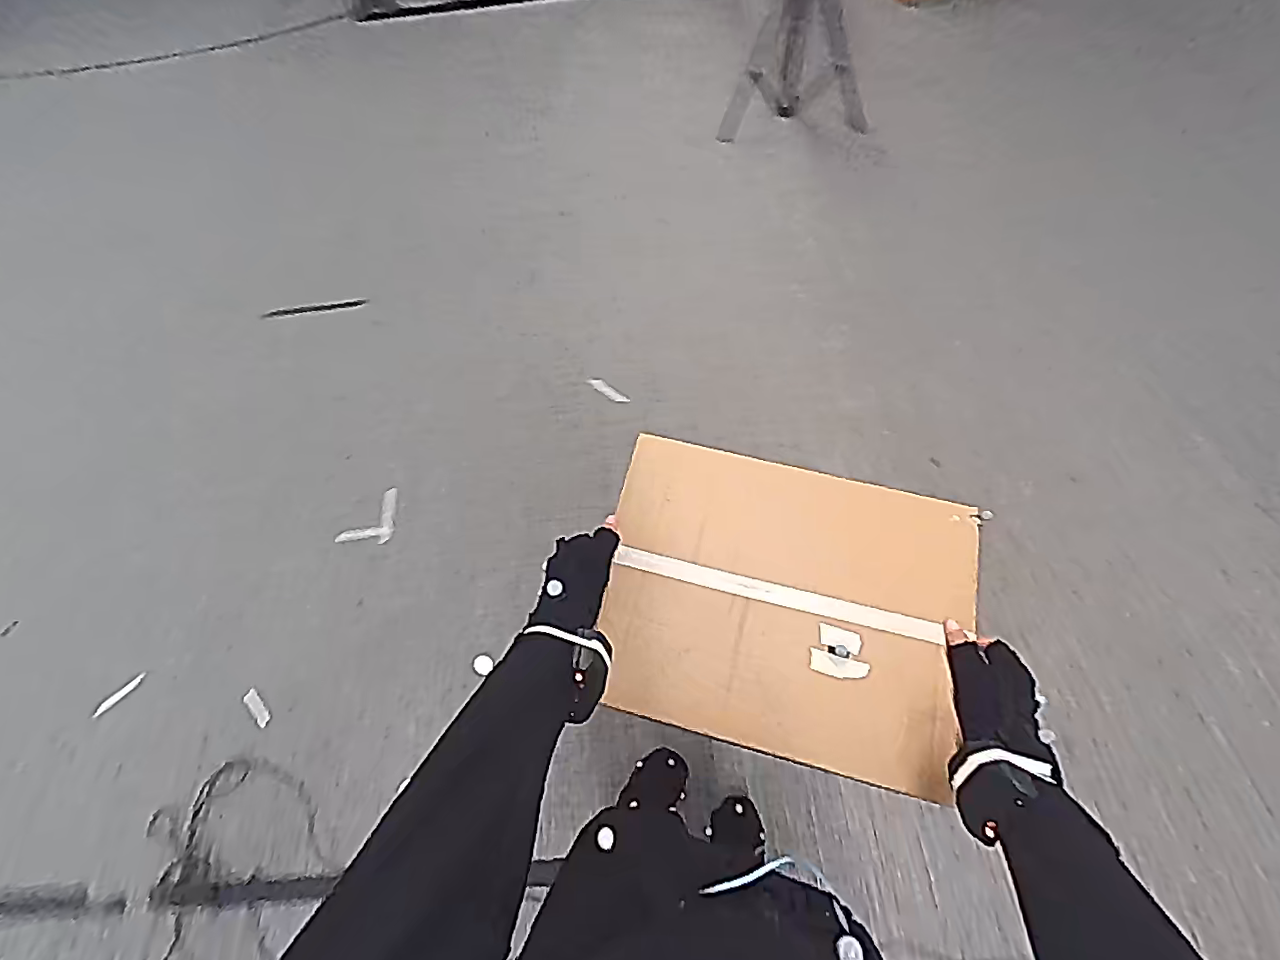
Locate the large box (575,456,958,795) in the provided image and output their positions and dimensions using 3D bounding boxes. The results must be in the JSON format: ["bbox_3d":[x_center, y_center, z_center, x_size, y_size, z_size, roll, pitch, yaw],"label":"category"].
[{"bbox_3d":[0.154,0.199,0.747,0.408,0.320,0.320,12,68,6],"label":"large box"}]
